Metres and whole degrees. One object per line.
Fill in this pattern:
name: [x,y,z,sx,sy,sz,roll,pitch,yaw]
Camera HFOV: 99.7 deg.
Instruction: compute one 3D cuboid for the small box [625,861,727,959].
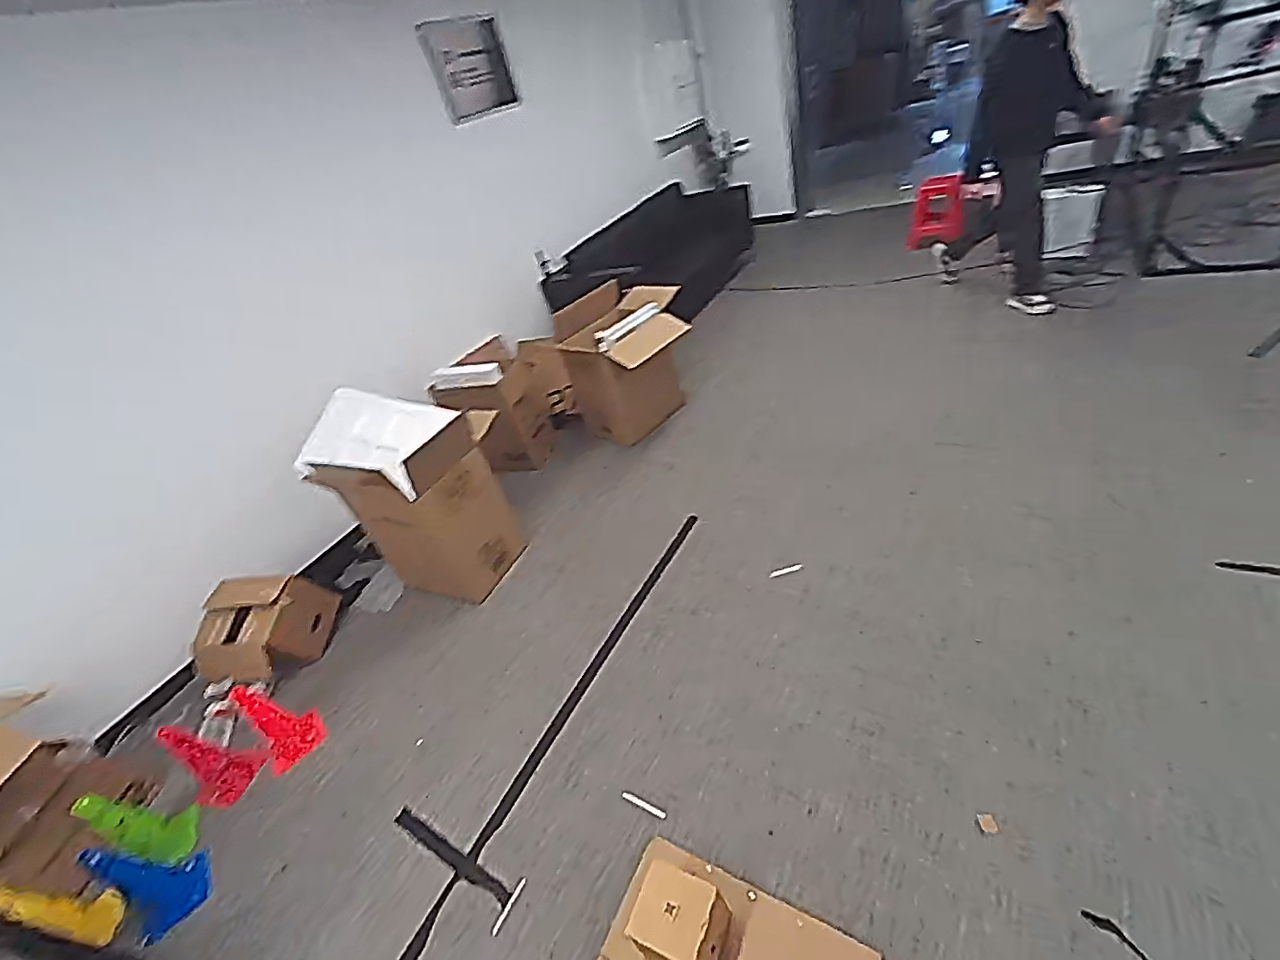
small box: [0.093,1.061,1.289,0.179,0.176,0.168,4,40,29]
